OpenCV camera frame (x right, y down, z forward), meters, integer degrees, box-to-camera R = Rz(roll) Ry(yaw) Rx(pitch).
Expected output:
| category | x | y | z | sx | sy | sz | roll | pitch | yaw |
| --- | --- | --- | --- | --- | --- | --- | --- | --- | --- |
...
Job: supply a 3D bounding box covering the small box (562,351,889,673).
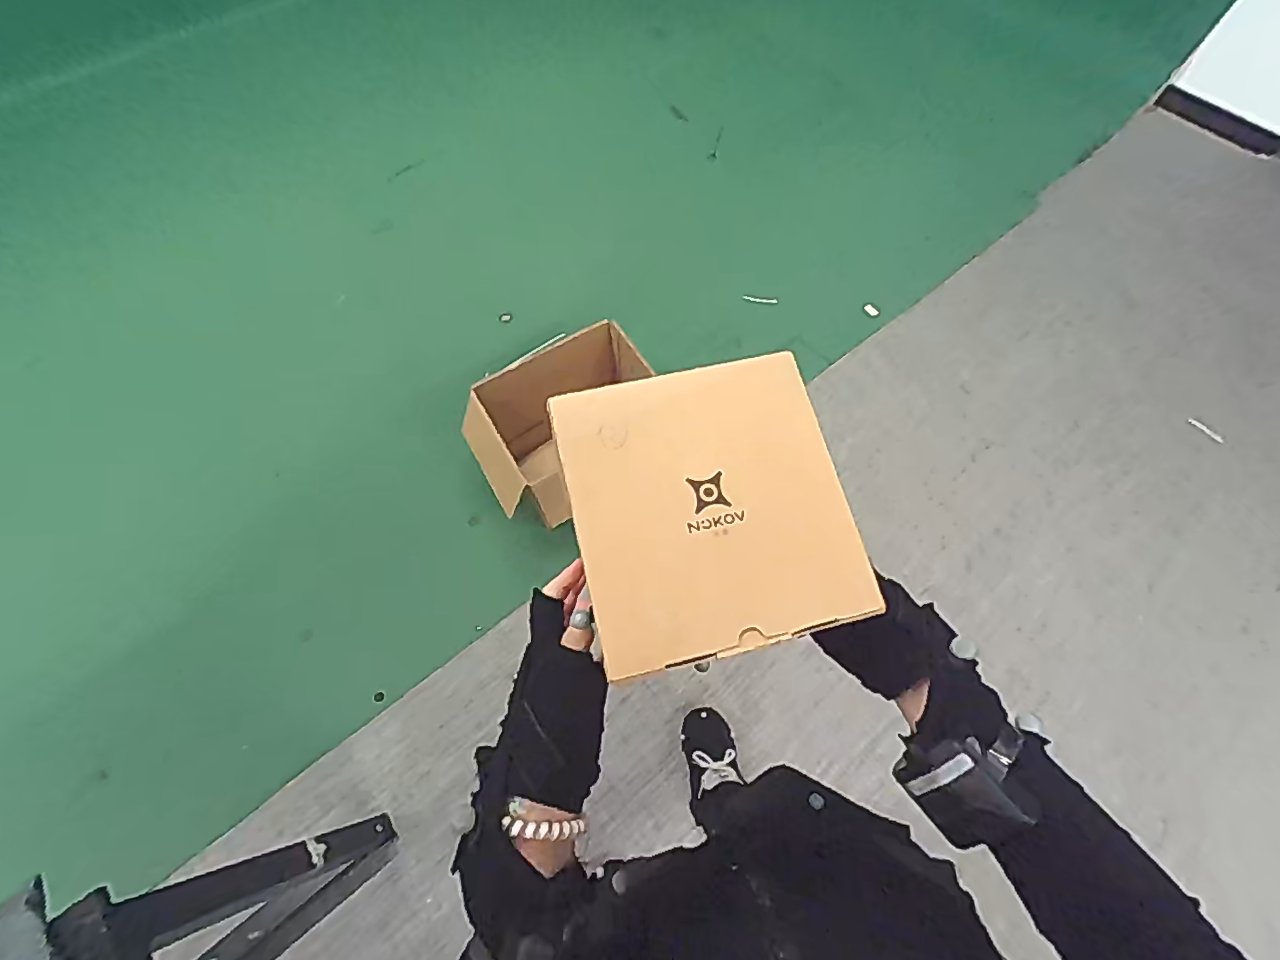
| category | x | y | z | sx | sy | sz | roll | pitch | yaw |
| --- | --- | --- | --- | --- | --- | --- | --- | --- | --- |
| small box | 0.040 | 0.033 | 0.401 | 0.168 | 0.176 | 0.179 | -13 | 75 | -9 |
